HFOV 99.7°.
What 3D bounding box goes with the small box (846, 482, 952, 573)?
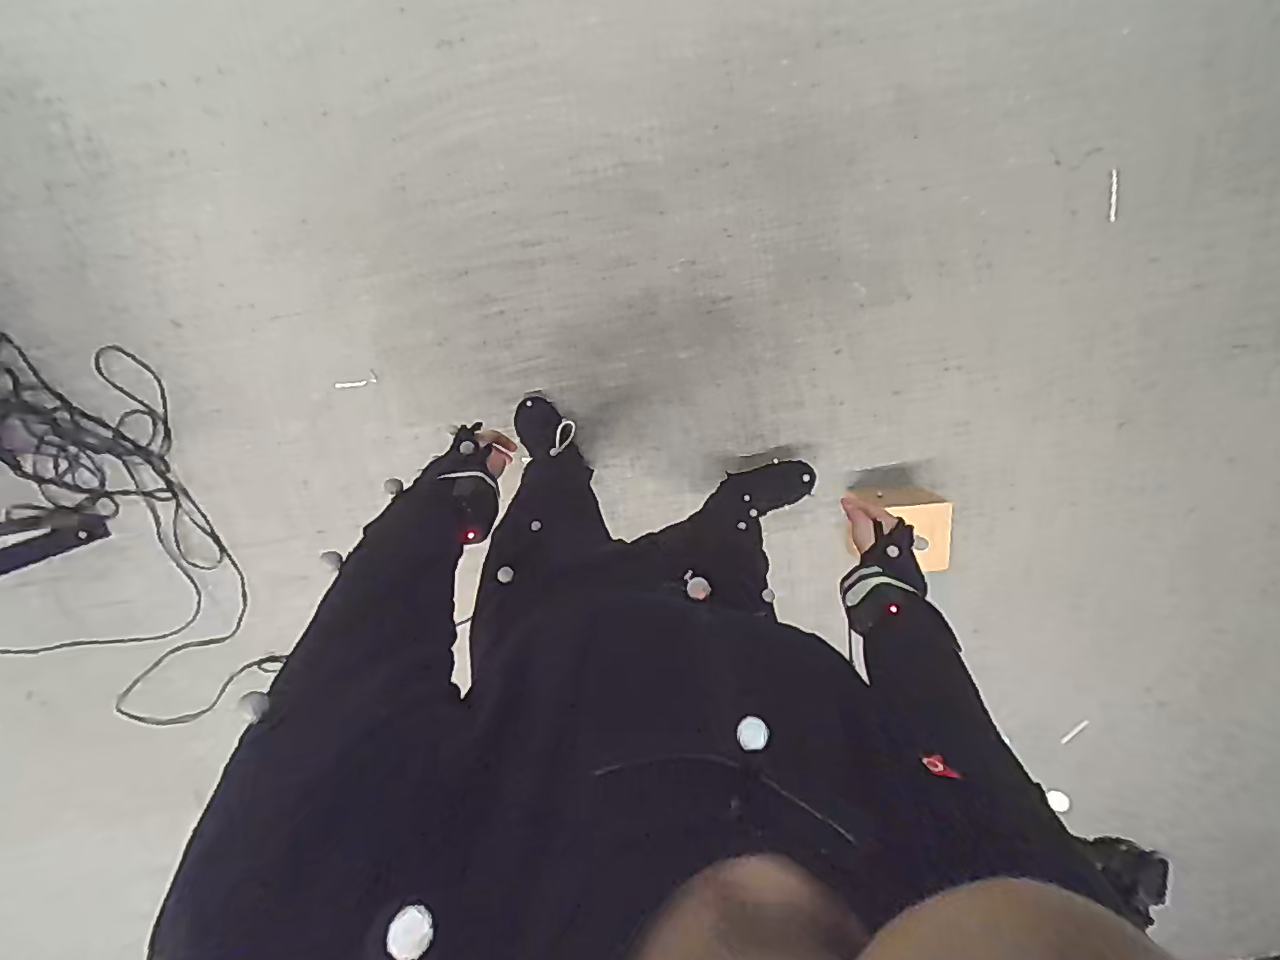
[{"bbox_3d":[0.605,0.108,1.286,0.179,0.176,0.168,-6,105,-2],"label":"small box"}]
